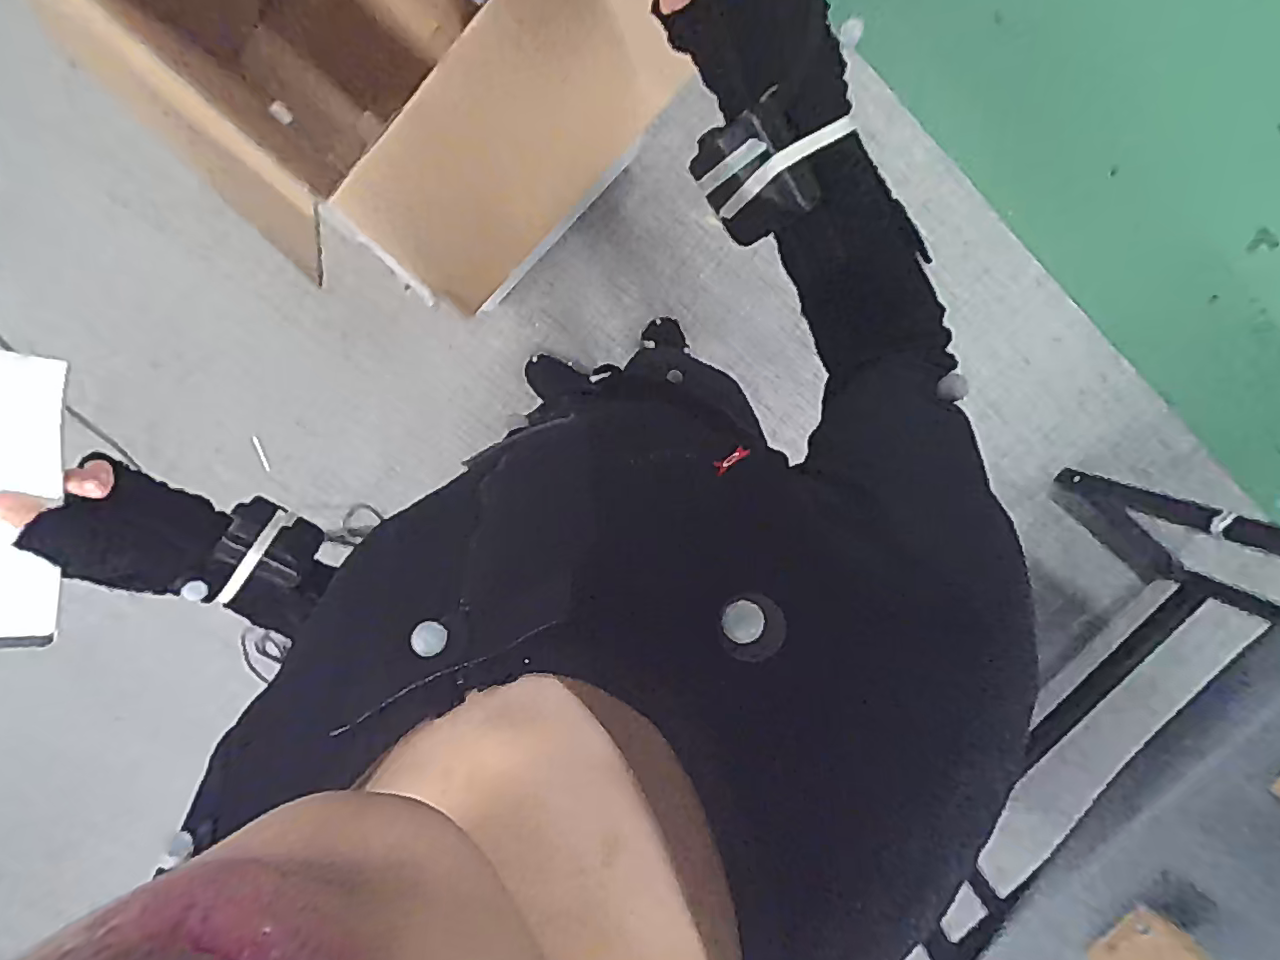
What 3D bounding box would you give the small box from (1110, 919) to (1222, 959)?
[{"bbox_3d":[1.035,0.972,1.004,0.179,0.176,0.168,35,98,-13],"label":"small box"}]
